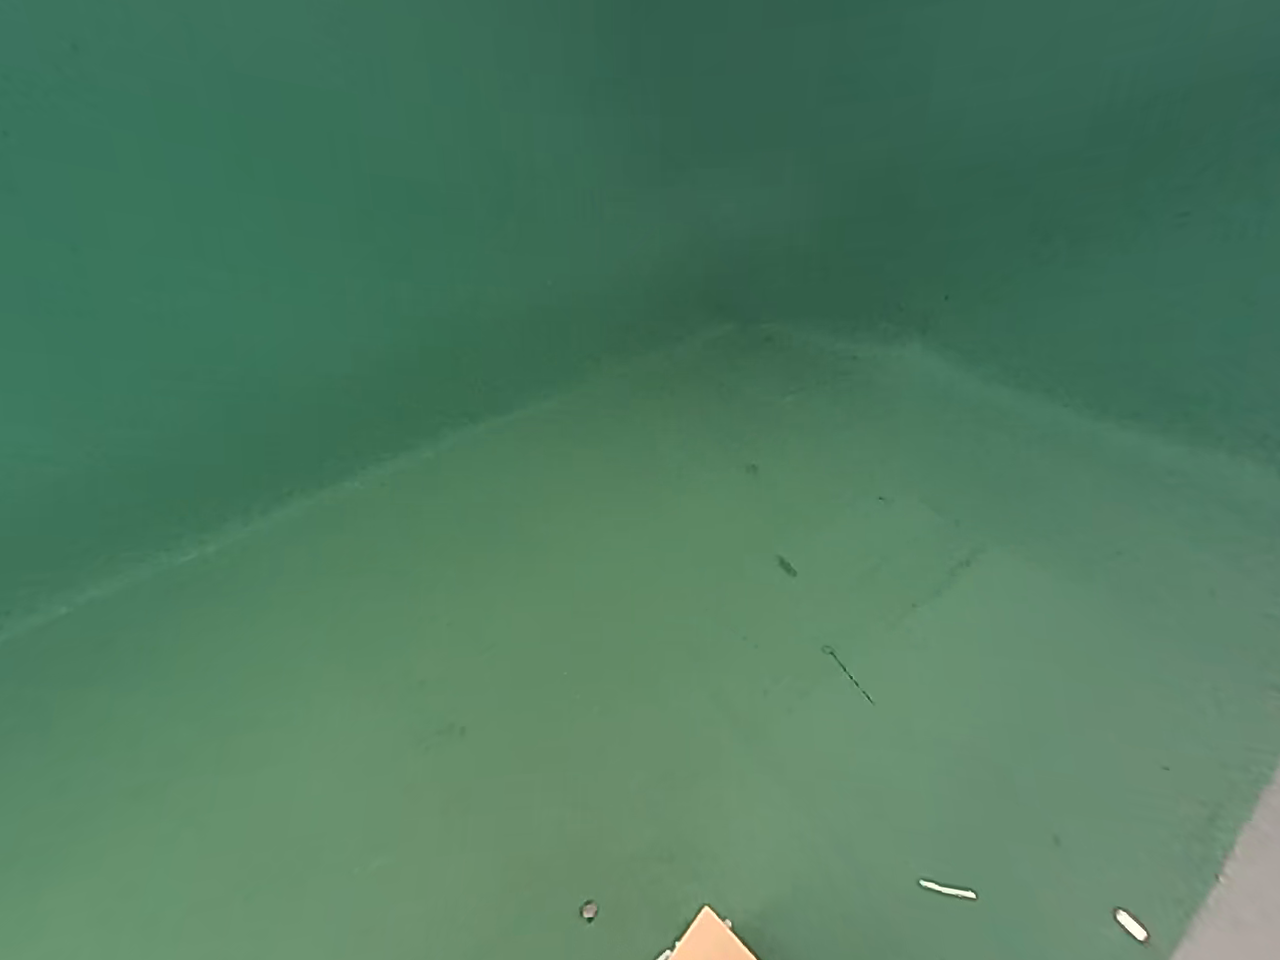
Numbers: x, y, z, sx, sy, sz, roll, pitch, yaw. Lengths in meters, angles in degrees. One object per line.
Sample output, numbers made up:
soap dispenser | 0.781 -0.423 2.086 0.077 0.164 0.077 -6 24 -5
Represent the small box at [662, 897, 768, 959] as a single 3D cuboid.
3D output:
small box | 0.149 0.951 1.021 0.168 0.176 0.179 -37 48 -28
